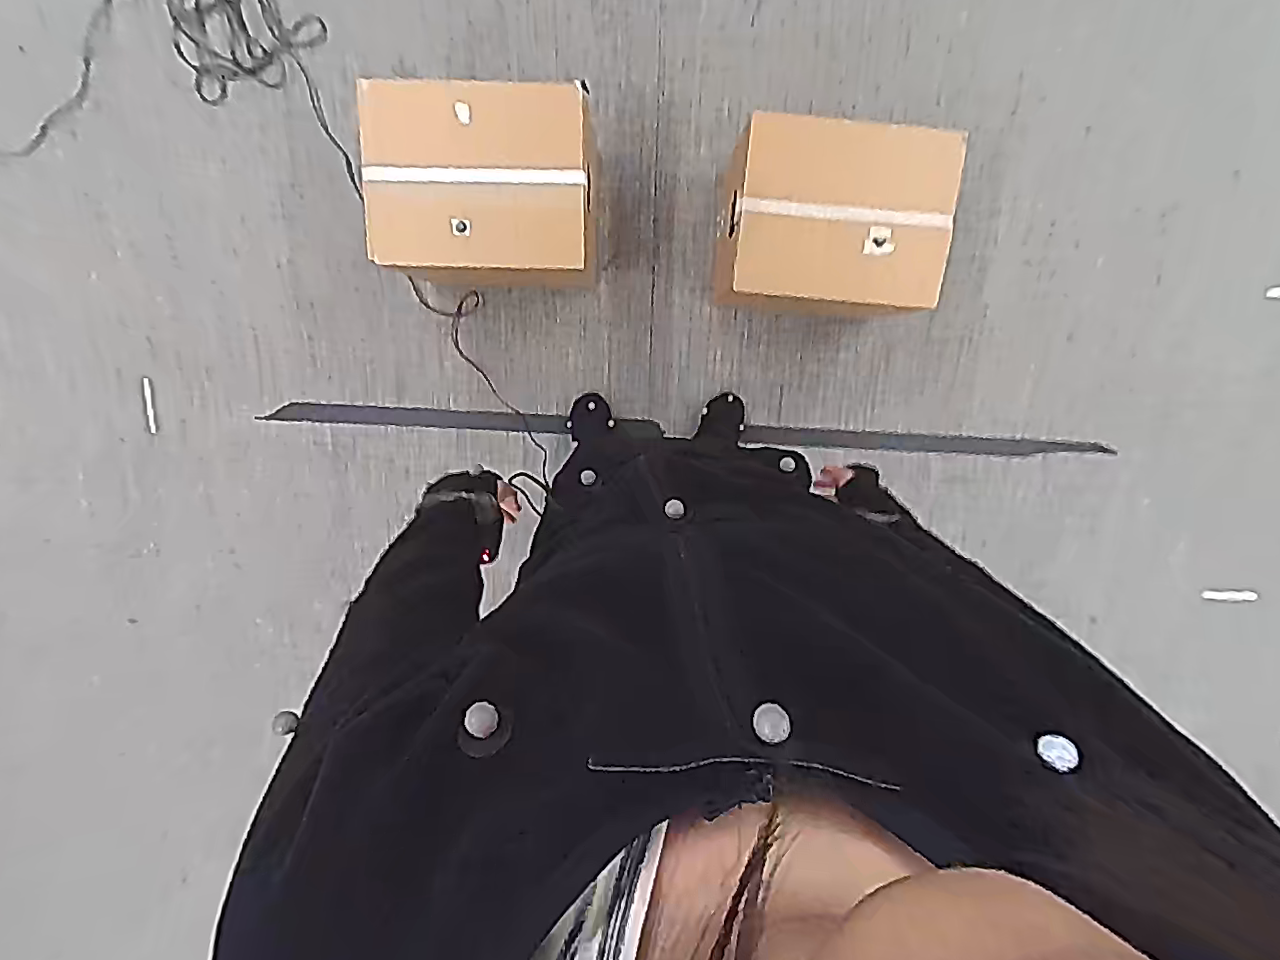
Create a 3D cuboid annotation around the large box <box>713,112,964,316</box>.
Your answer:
[{"bbox_3d":[0.387,-0.540,1.166,0.408,0.320,0.320,4,103,-2],"label":"large box"}]
